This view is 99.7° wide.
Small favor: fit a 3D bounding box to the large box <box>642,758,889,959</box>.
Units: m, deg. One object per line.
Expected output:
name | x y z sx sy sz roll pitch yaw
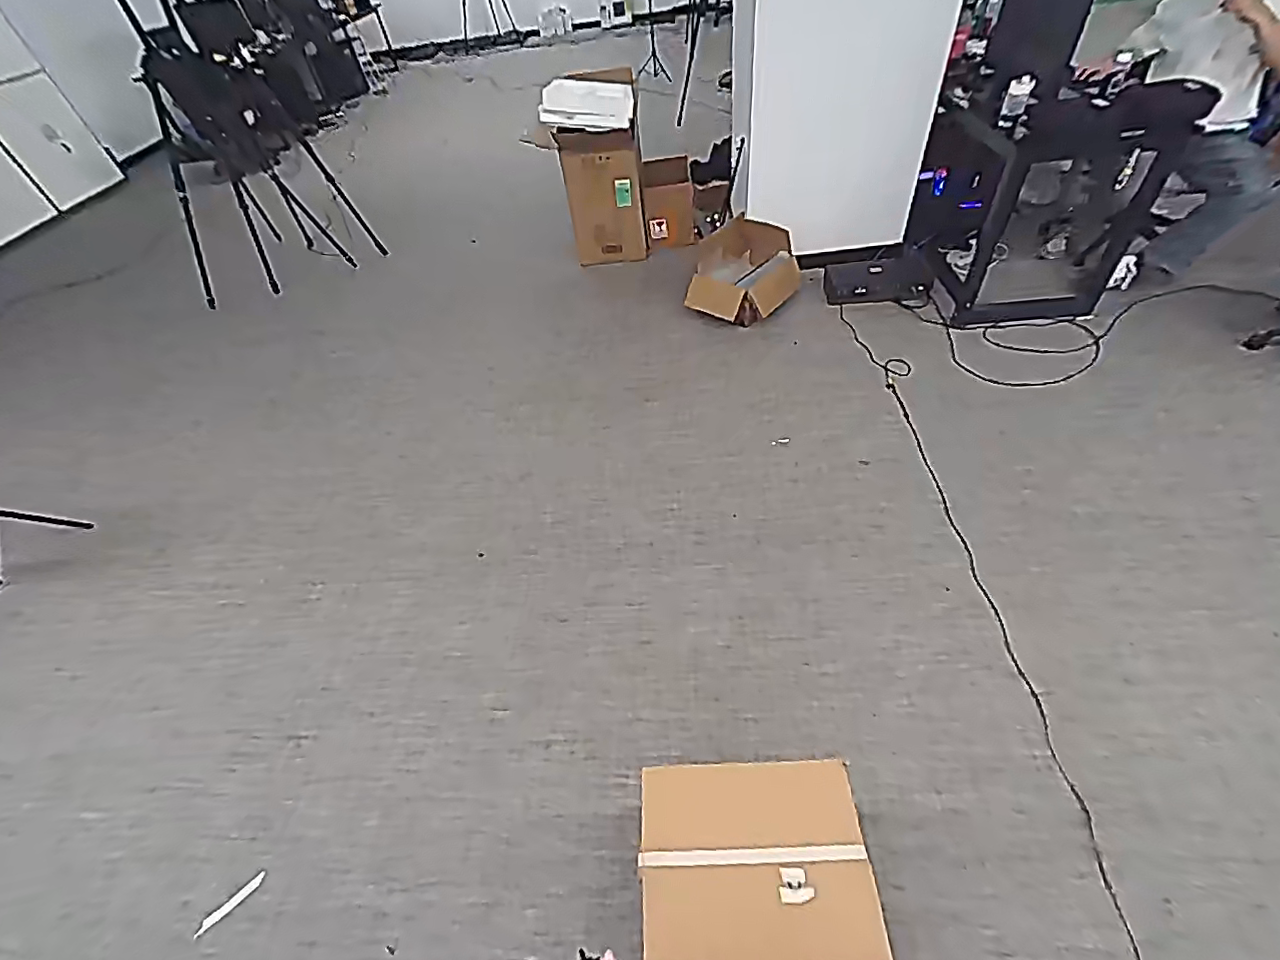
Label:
large box | 0.219 0.788 1.096 0.408 0.320 0.320 -5 47 3
